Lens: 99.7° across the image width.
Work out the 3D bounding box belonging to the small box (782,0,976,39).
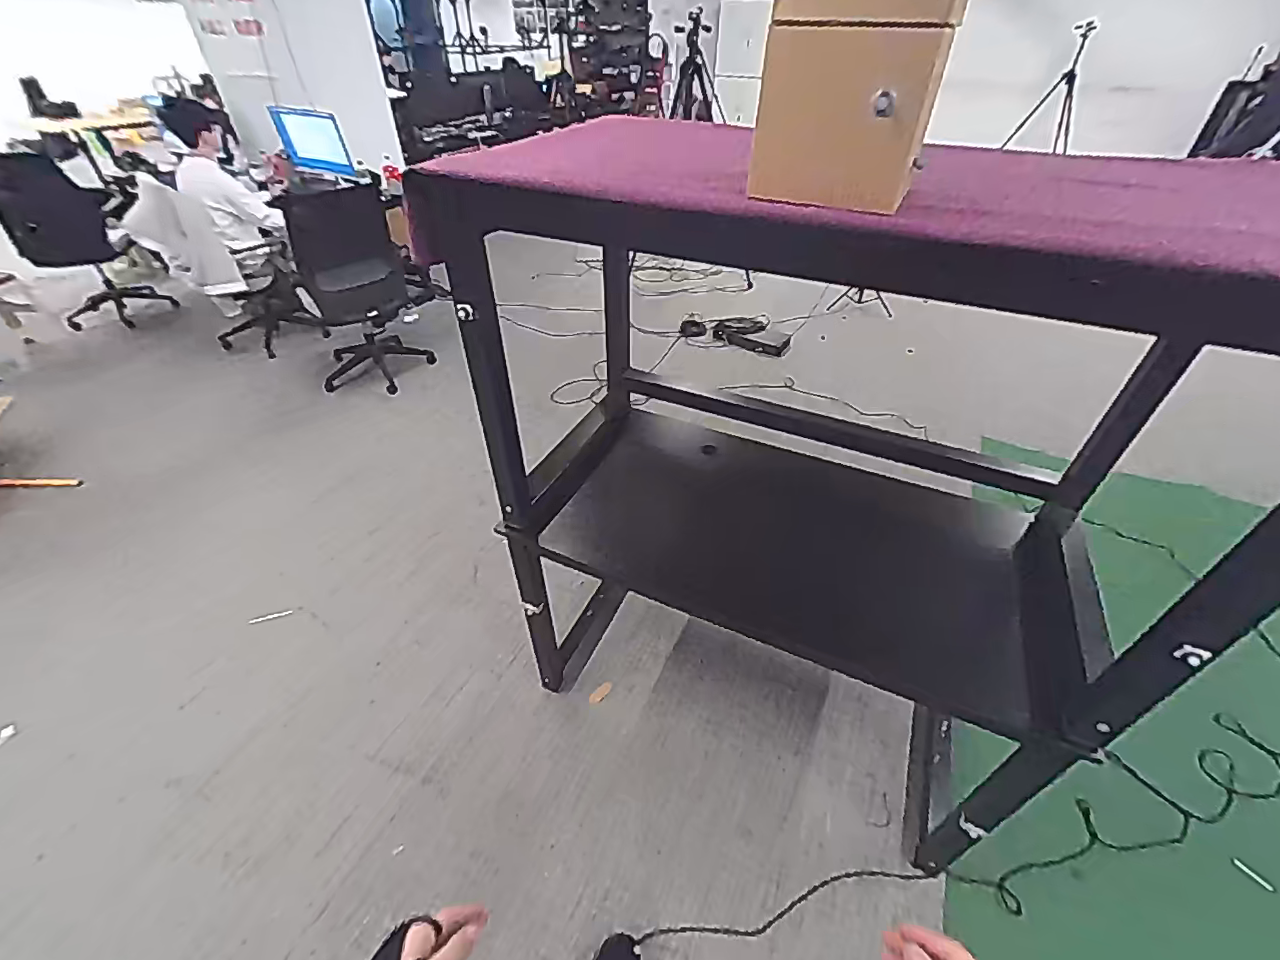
[{"bbox_3d":[0.255,-0.552,0.537,0.179,0.176,0.168,19,43,21],"label":"small box"}]
